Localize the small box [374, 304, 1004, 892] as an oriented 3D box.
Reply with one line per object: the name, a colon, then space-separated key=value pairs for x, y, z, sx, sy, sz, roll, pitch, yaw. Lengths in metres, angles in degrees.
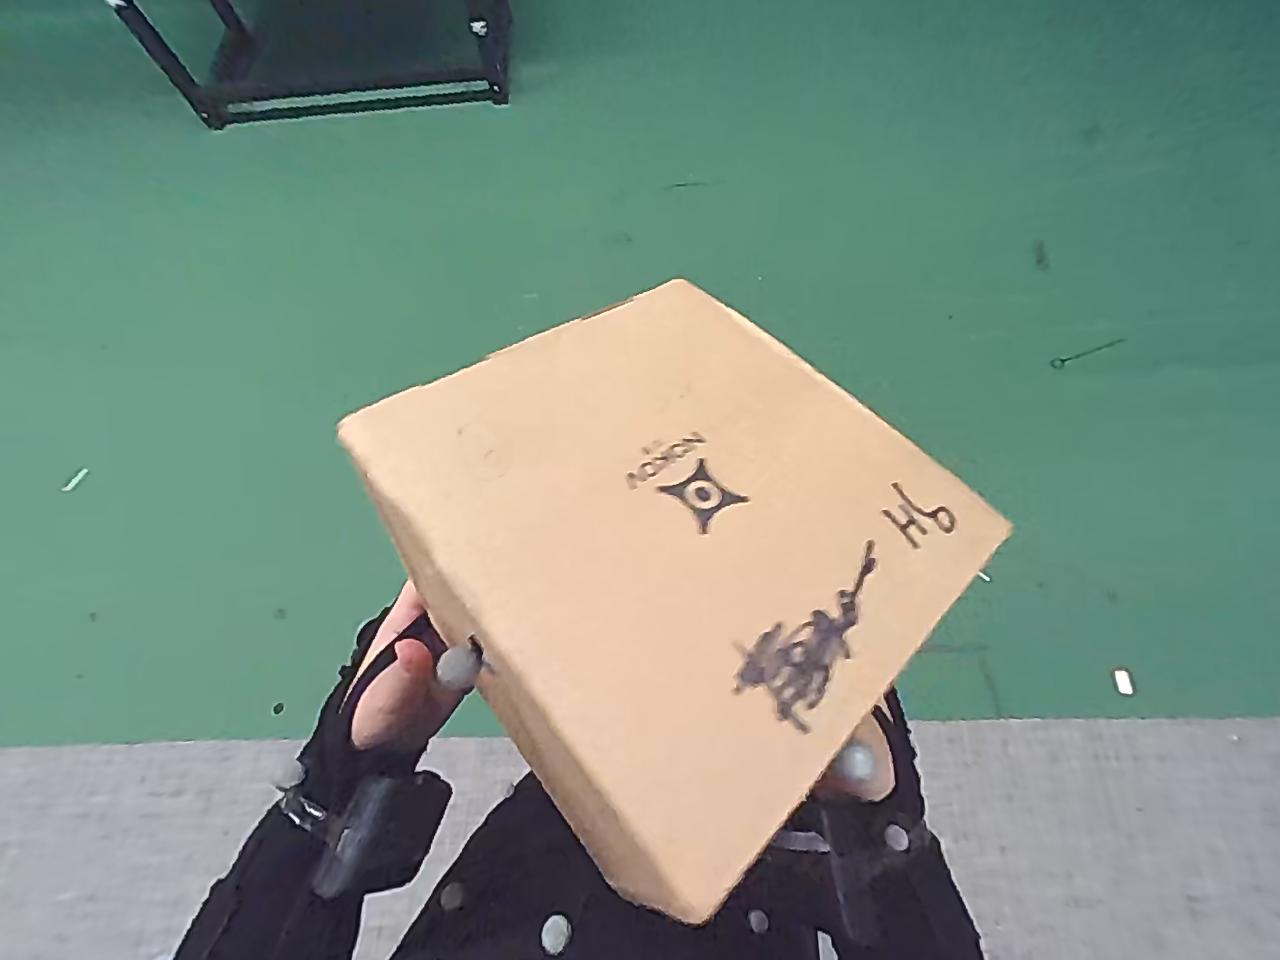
small box: x=0.011 y=0.054 z=0.260 sx=0.168 sy=0.176 sz=0.179 roll=-34 pitch=65 yaw=-27
